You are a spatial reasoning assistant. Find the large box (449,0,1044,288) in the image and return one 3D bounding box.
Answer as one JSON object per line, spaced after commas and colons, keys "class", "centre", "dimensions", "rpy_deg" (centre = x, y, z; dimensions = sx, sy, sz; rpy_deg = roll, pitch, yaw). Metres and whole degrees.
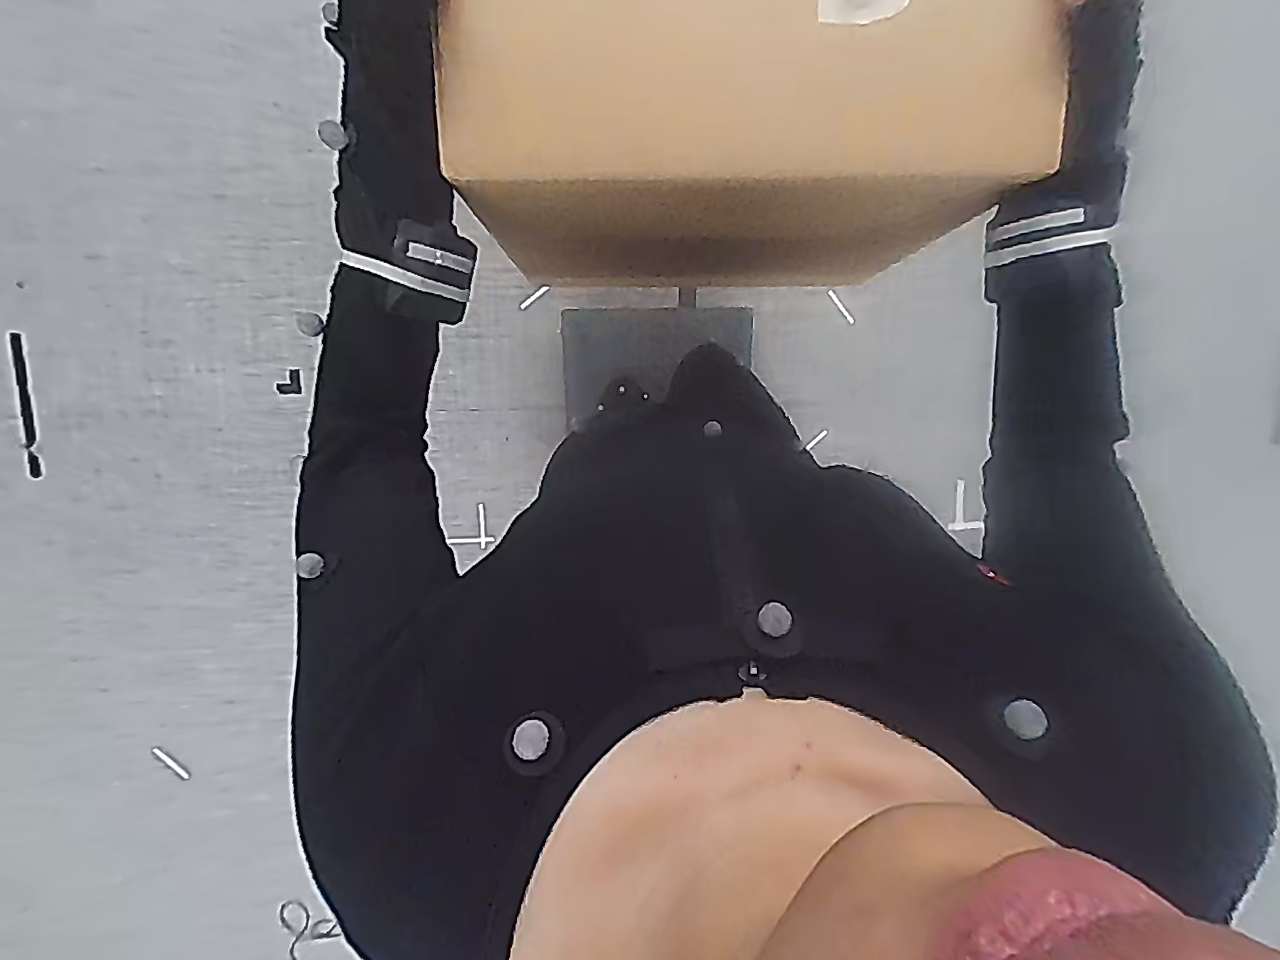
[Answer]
{"class": "large box", "centre": [0.066, -0.378, 0.502], "dimensions": [0.408, 0.320, 0.320], "rpy_deg": [-1, 97, -1]}
